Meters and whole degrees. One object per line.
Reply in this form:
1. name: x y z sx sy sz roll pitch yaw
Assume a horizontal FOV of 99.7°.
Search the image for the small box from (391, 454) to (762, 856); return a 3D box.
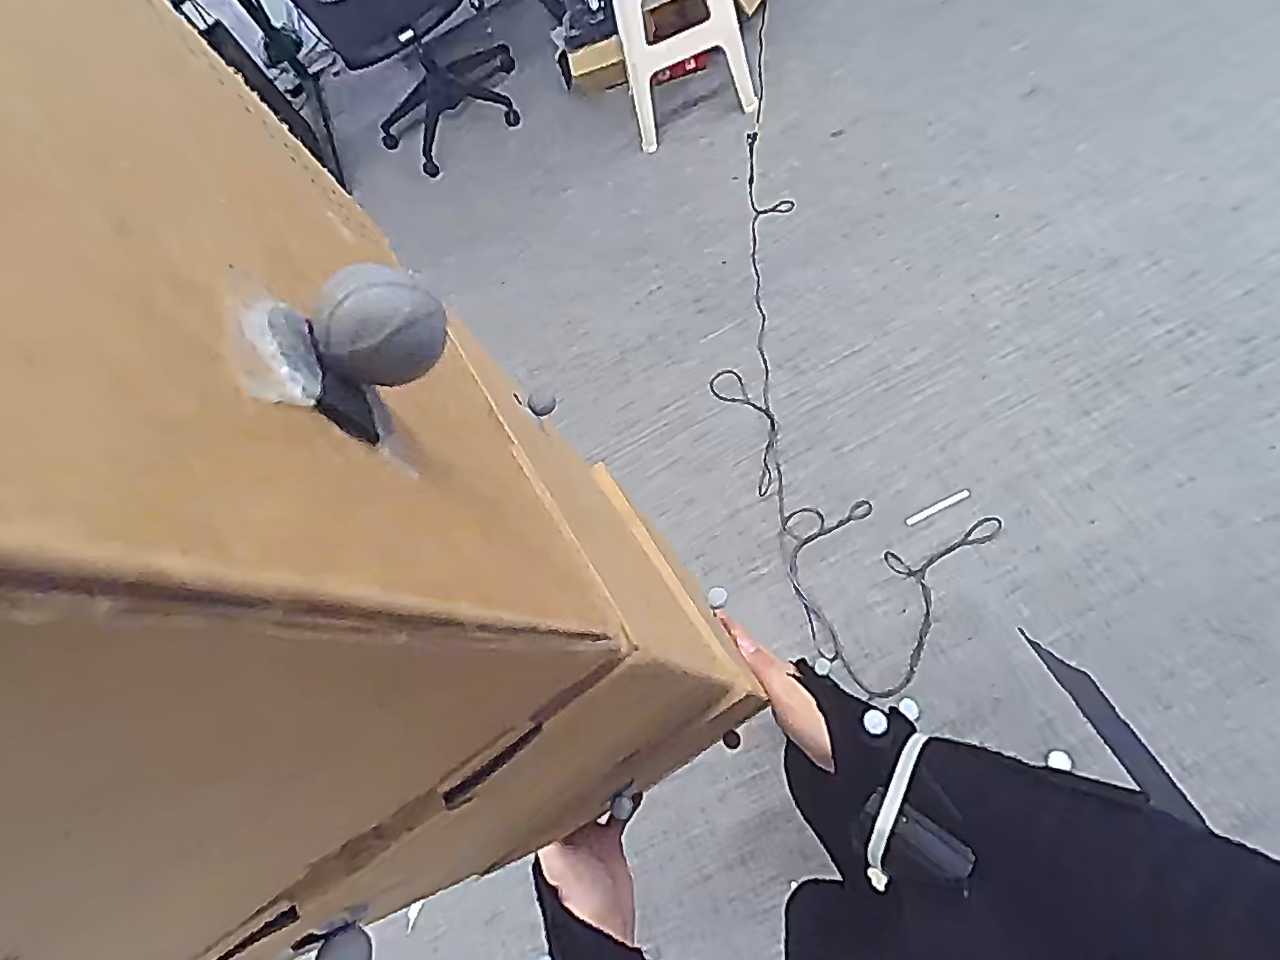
1. small box: -0.031 0.120 0.383 0.179 0.176 0.168 -34 62 0
